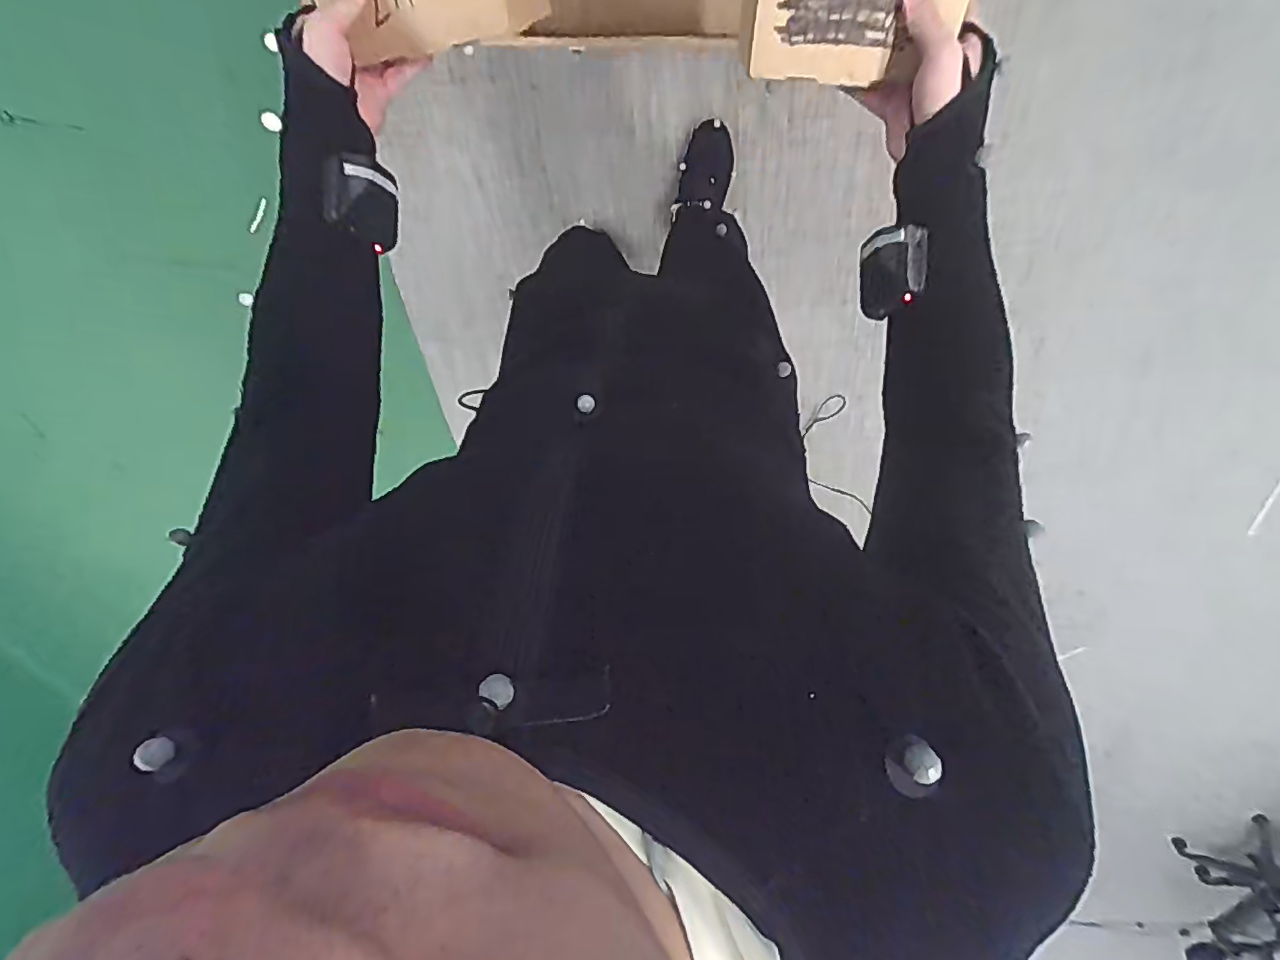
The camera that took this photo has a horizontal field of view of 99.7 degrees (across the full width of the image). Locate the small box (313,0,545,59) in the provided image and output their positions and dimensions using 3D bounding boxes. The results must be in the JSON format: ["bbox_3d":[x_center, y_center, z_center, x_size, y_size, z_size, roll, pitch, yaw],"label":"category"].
[{"bbox_3d":[-0.193,-0.494,0.465,0.168,0.176,0.179,-3,136,9],"label":"small box"}]
